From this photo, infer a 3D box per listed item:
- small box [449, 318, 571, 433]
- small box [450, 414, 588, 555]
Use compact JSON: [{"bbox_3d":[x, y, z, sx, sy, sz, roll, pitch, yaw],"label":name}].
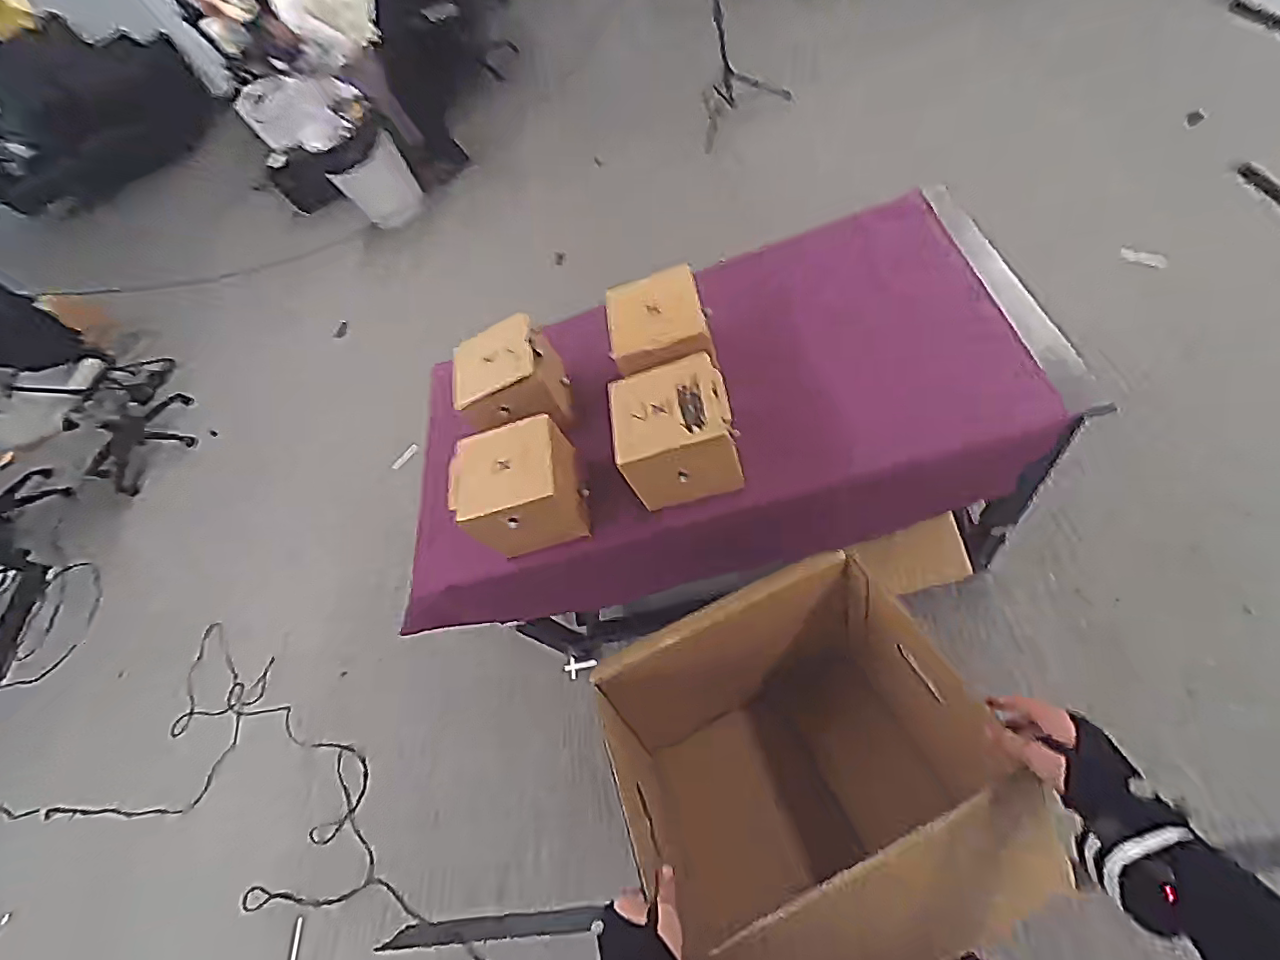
[{"bbox_3d":[-0.257,-0.183,1.081,0.179,0.176,0.168,-18,58,9],"label":"small box"},{"bbox_3d":[-0.209,0.016,0.954,0.179,0.176,0.168,-16,58,10],"label":"small box"}]
